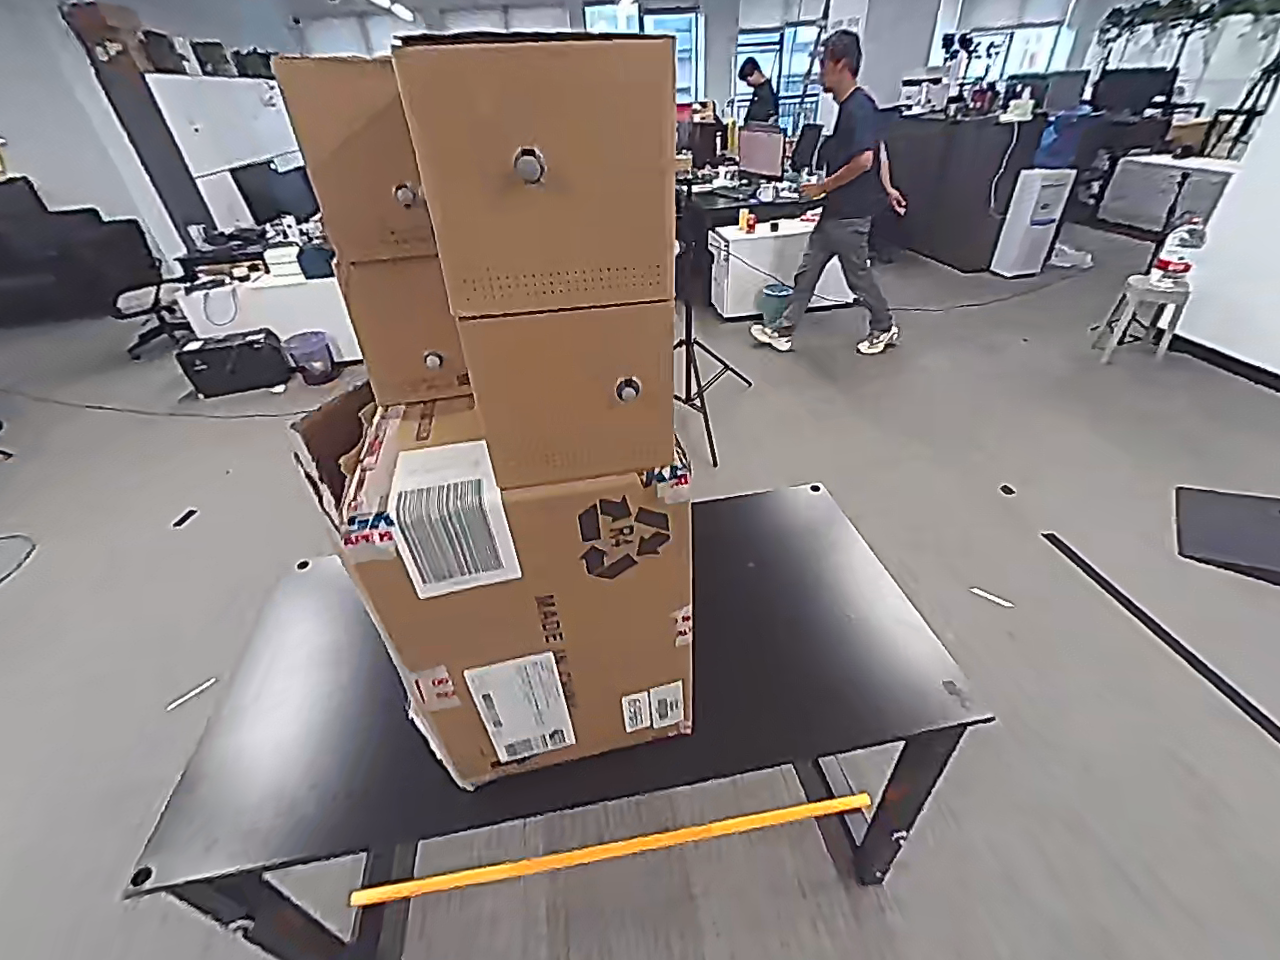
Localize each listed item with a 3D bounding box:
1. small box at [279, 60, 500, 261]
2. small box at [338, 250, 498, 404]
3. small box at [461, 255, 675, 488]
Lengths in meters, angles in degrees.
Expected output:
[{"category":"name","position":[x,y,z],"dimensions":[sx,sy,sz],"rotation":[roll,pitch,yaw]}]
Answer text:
[{"category":"small box","position":[-0.255,-0.346,0.593],"dimensions":[0.168,0.176,0.179],"rotation":[-12,35,-12]},{"category":"small box","position":[-0.257,-0.213,0.692],"dimensions":[0.168,0.176,0.179],"rotation":[-10,36,-11]},{"category":"small box","position":[-0.068,-0.112,0.545],"dimensions":[0.179,0.176,0.168],"rotation":[-9,36,-7]}]
